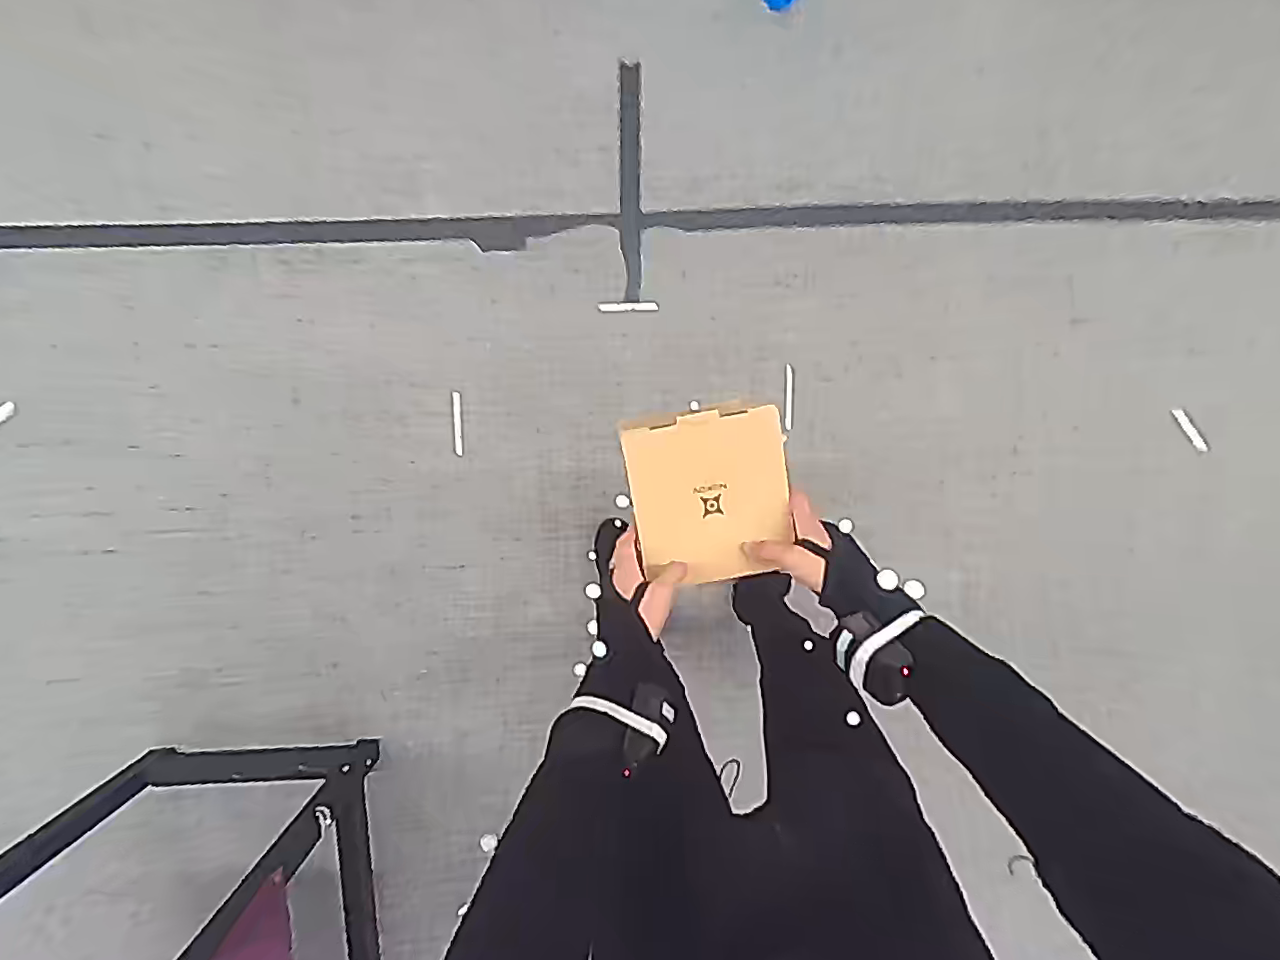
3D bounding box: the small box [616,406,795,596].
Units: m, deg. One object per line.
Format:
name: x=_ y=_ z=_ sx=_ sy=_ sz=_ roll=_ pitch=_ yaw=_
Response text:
small box: x=0.068 y=0.014 z=0.636 sx=0.168 sy=0.176 sz=0.179 roll=-11 pitch=99 yaw=-1
